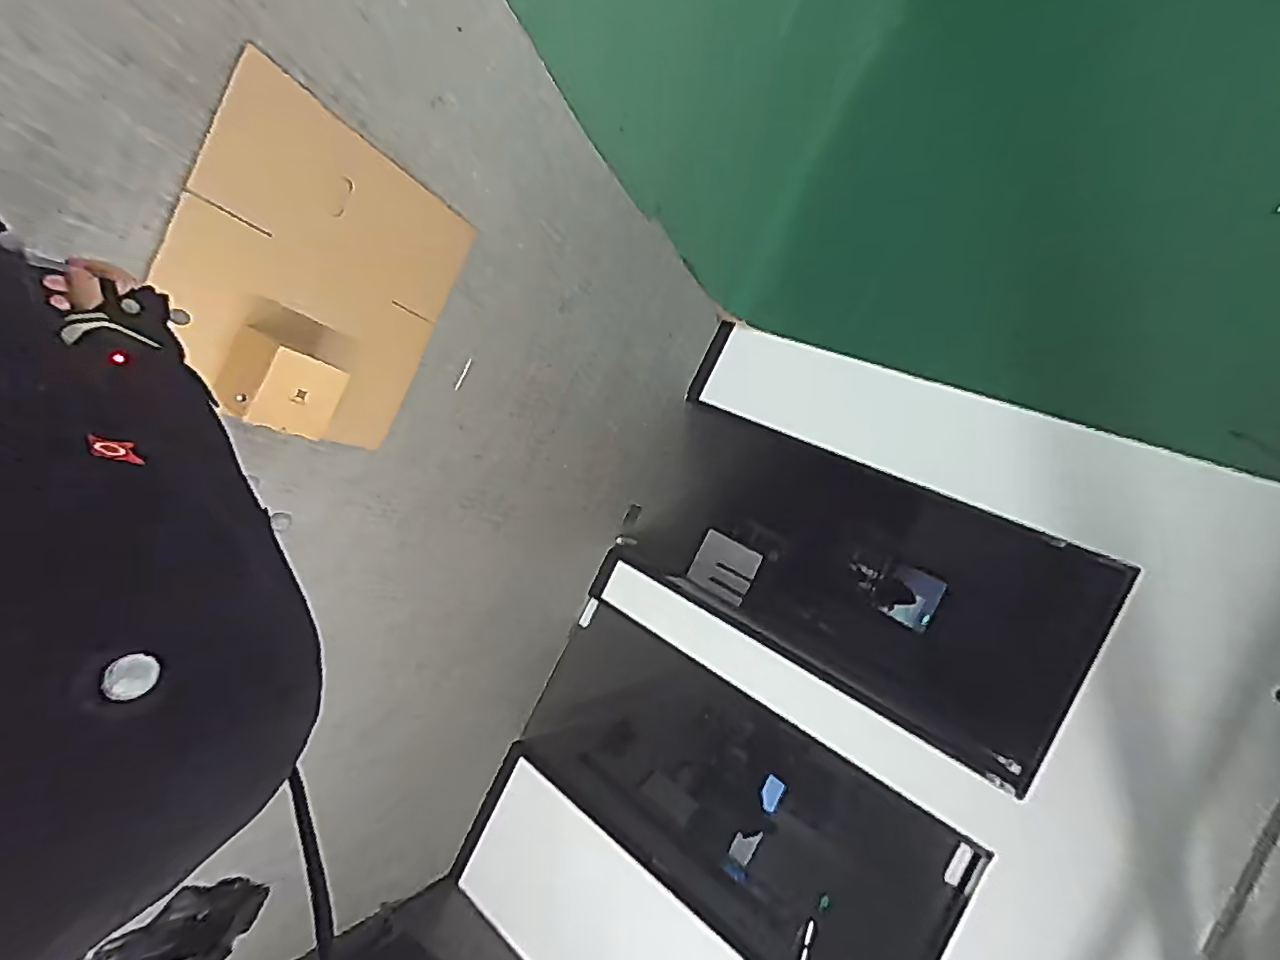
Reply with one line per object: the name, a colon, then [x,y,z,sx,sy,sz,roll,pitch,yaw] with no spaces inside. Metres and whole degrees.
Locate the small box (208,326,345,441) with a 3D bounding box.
small box: [-0.804,-0.215,1.195,0.179,0.176,0.168,-63,153,1]
